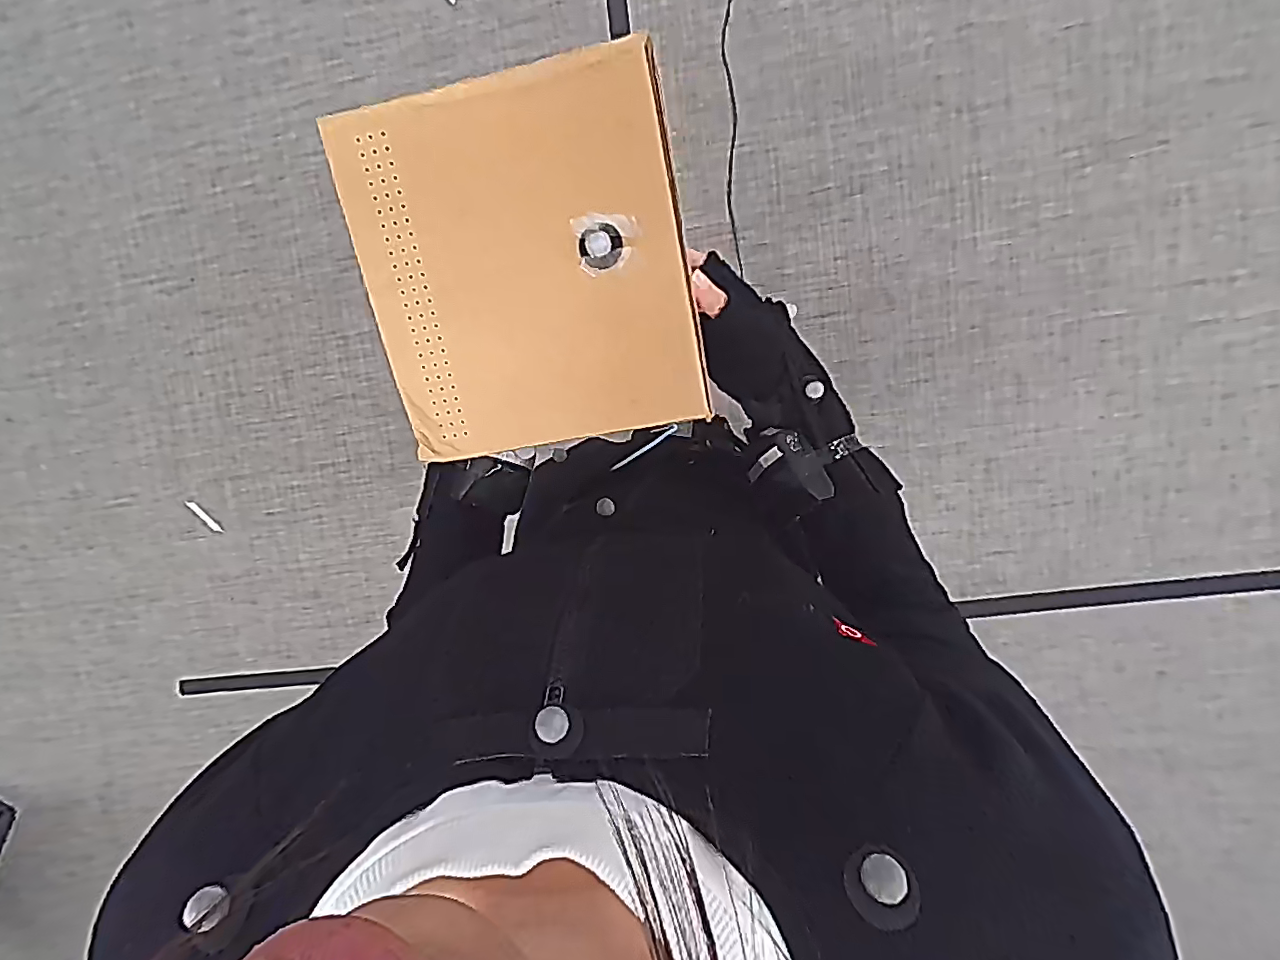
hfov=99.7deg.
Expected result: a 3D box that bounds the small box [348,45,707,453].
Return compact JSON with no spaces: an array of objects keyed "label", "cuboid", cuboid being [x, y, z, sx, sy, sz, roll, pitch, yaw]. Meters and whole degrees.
[{"label":"small box","cuboid":[-0.055,-0.129,0.358,0.176,0.168,0.179,-9,104,8]}]
